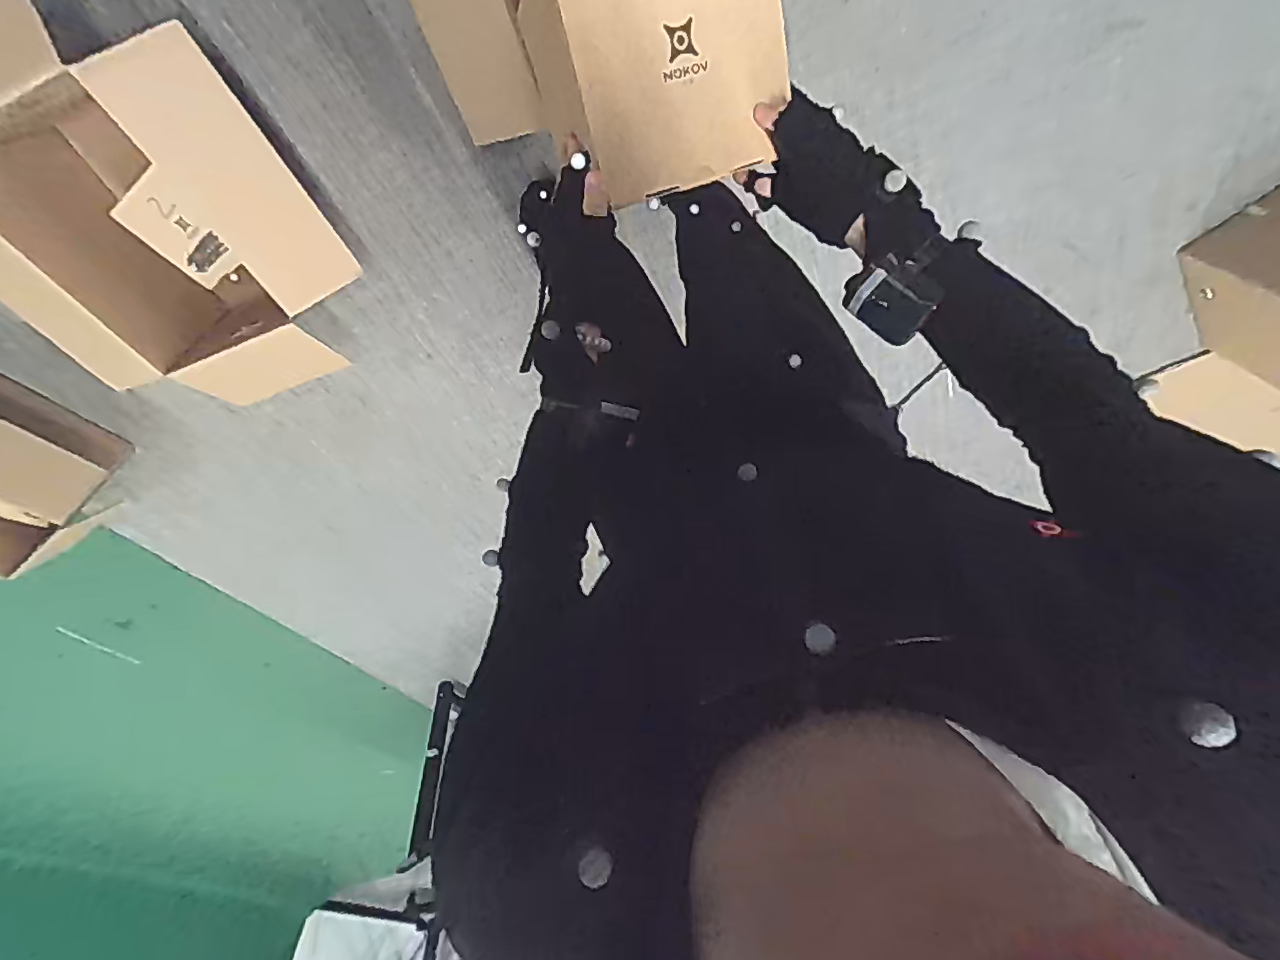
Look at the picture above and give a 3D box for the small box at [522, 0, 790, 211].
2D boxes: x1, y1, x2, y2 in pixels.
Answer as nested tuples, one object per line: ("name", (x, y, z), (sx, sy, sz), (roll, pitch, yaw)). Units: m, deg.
("small box", (0.006, -0.348, 0.467), (0.168, 0.176, 0.179), (-21, 119, -7))
